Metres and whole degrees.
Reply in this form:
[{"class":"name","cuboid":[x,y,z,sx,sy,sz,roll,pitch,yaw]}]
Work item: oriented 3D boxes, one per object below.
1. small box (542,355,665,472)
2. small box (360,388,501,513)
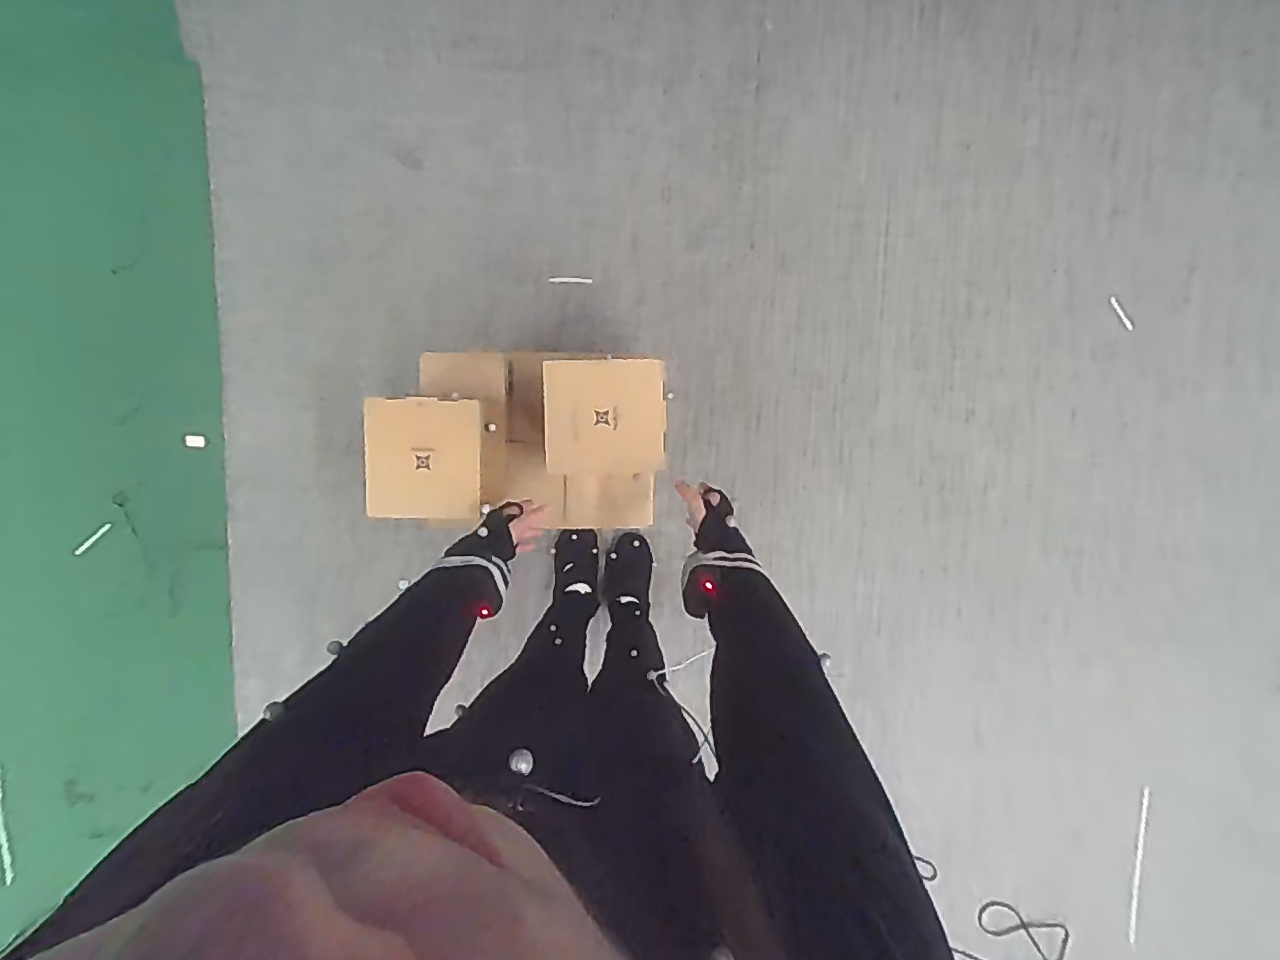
[{"class":"small box","cuboid":[-0.054,-0.103,0.854,0.179,0.176,0.168,1,95,0]},{"class":"small box","cuboid":[-0.319,-0.052,0.853,0.168,0.176,0.179,2,97,-3]}]
